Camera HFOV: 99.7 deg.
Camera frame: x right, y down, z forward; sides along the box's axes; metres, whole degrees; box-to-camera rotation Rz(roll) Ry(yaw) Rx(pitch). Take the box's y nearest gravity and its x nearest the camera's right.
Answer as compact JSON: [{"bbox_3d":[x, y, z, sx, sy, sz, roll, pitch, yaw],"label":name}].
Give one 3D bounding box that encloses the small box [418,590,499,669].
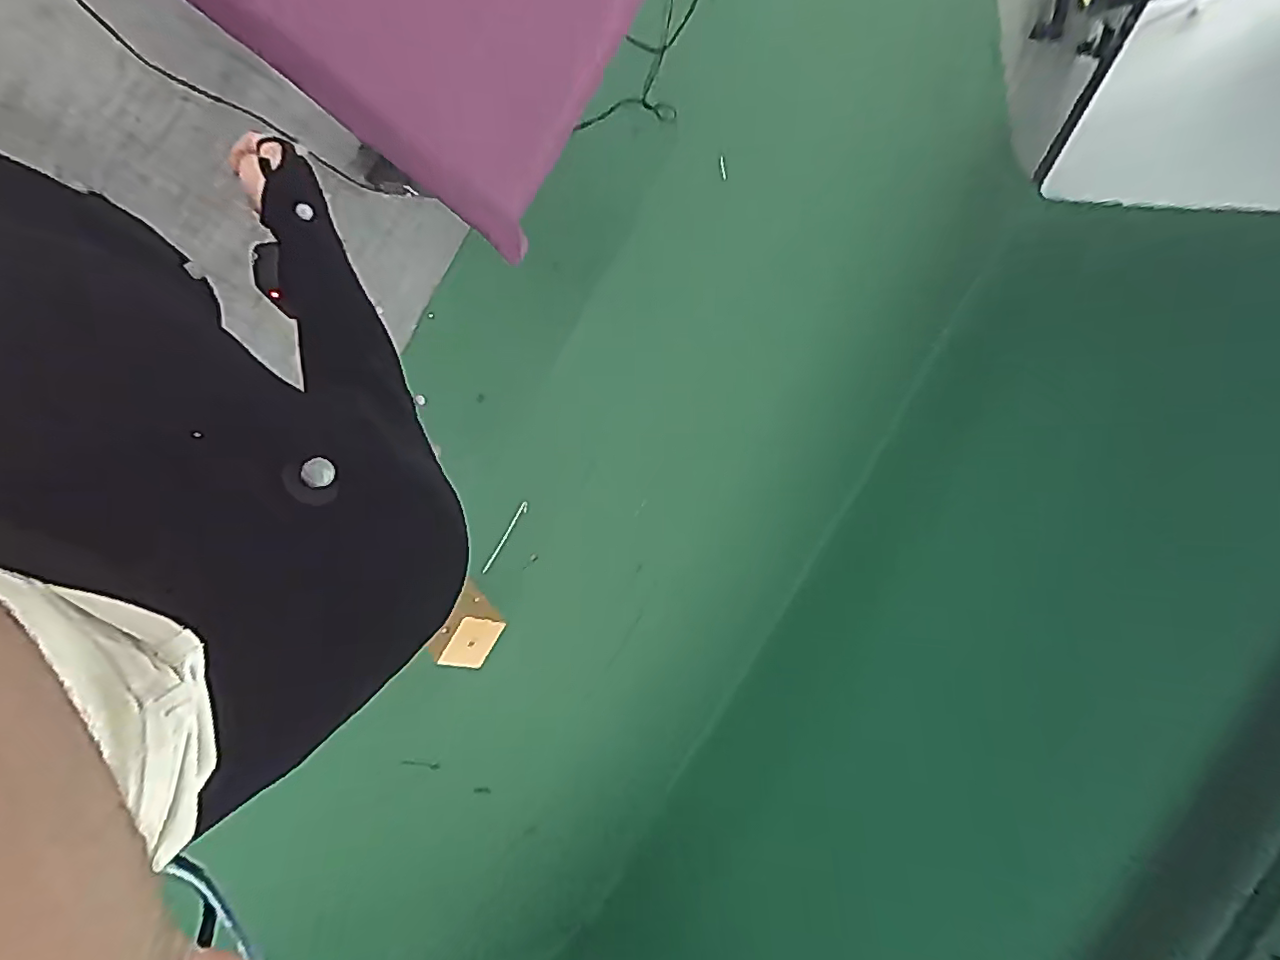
[{"bbox_3d":[-0.601,0.489,1.772,0.168,0.176,0.179,30,91,-47],"label":"small box"}]
